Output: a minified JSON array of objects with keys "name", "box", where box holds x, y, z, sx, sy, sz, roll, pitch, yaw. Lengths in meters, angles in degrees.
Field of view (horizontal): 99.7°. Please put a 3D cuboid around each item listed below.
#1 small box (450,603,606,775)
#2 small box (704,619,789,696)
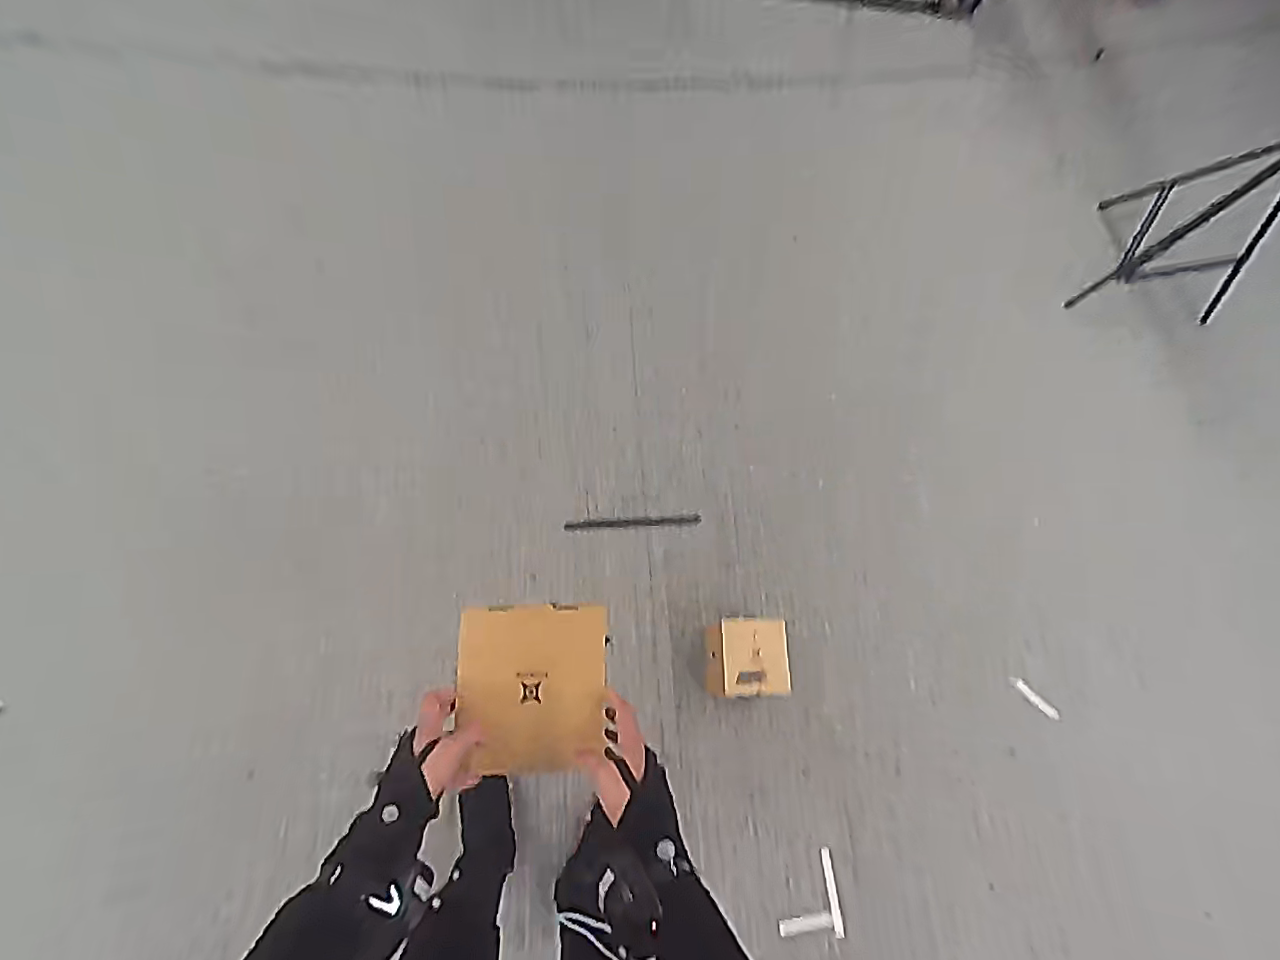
[{"name":"small box","box":[-0.125,0.244,0.670,0.168,0.176,0.179,0,77,-4]},{"name":"small box","box":[0.263,0.452,1.374,0.168,0.176,0.179,3,70,-8]}]
